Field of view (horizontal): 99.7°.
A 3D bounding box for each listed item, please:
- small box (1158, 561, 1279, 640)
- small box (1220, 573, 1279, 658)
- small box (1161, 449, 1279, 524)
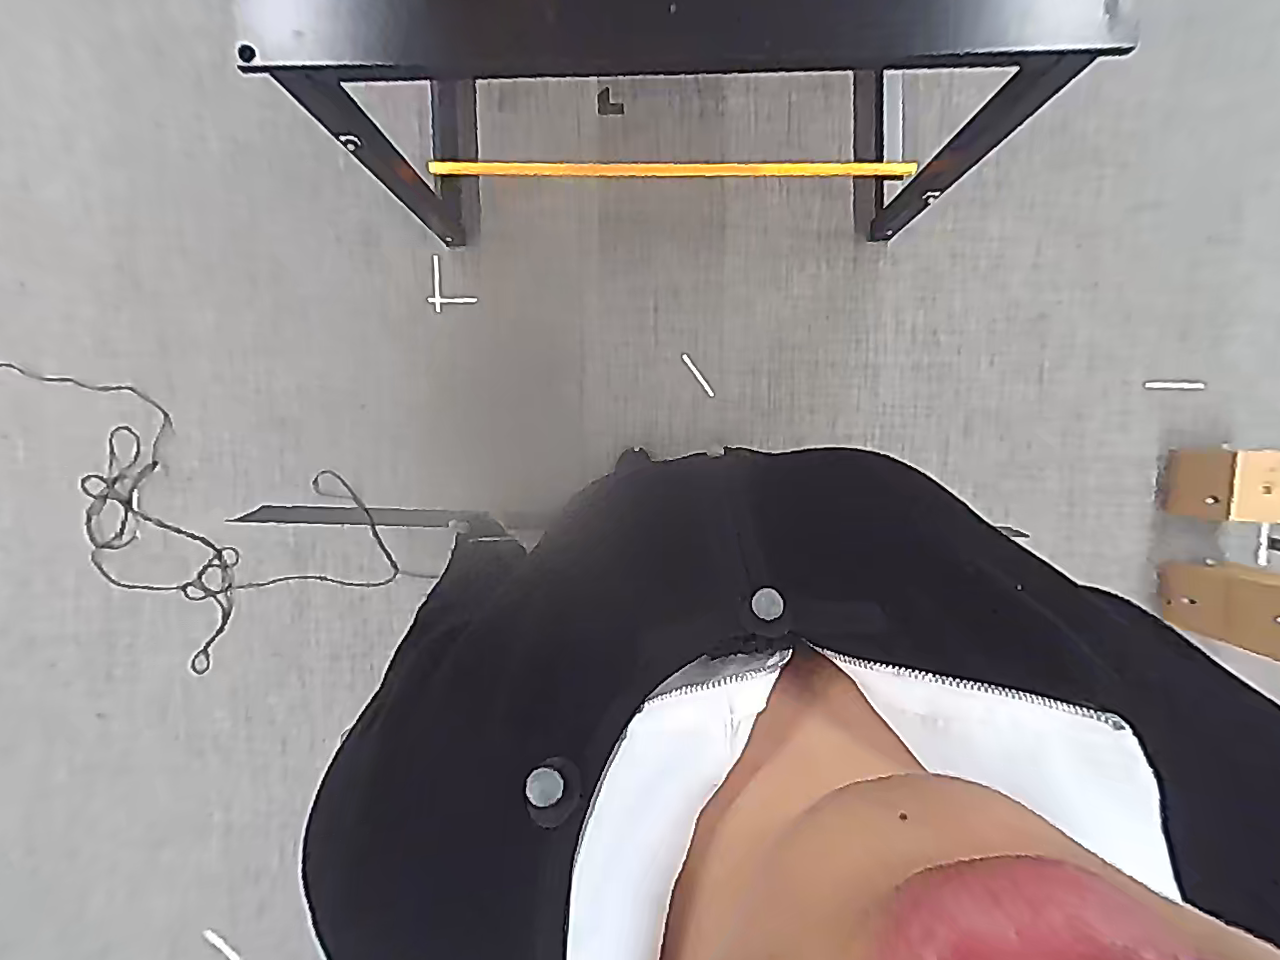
[{"bbox_3d":[1.510,0.309,1.409,0.179,0.176,0.168,-2,94,2],"label":"small box"},{"bbox_3d":[1.502,0.313,1.243,0.168,0.176,0.179,-2,94,1],"label":"small box"},{"bbox_3d":[1.499,0.011,1.387,0.168,0.176,0.179,2,93,1],"label":"small box"}]
